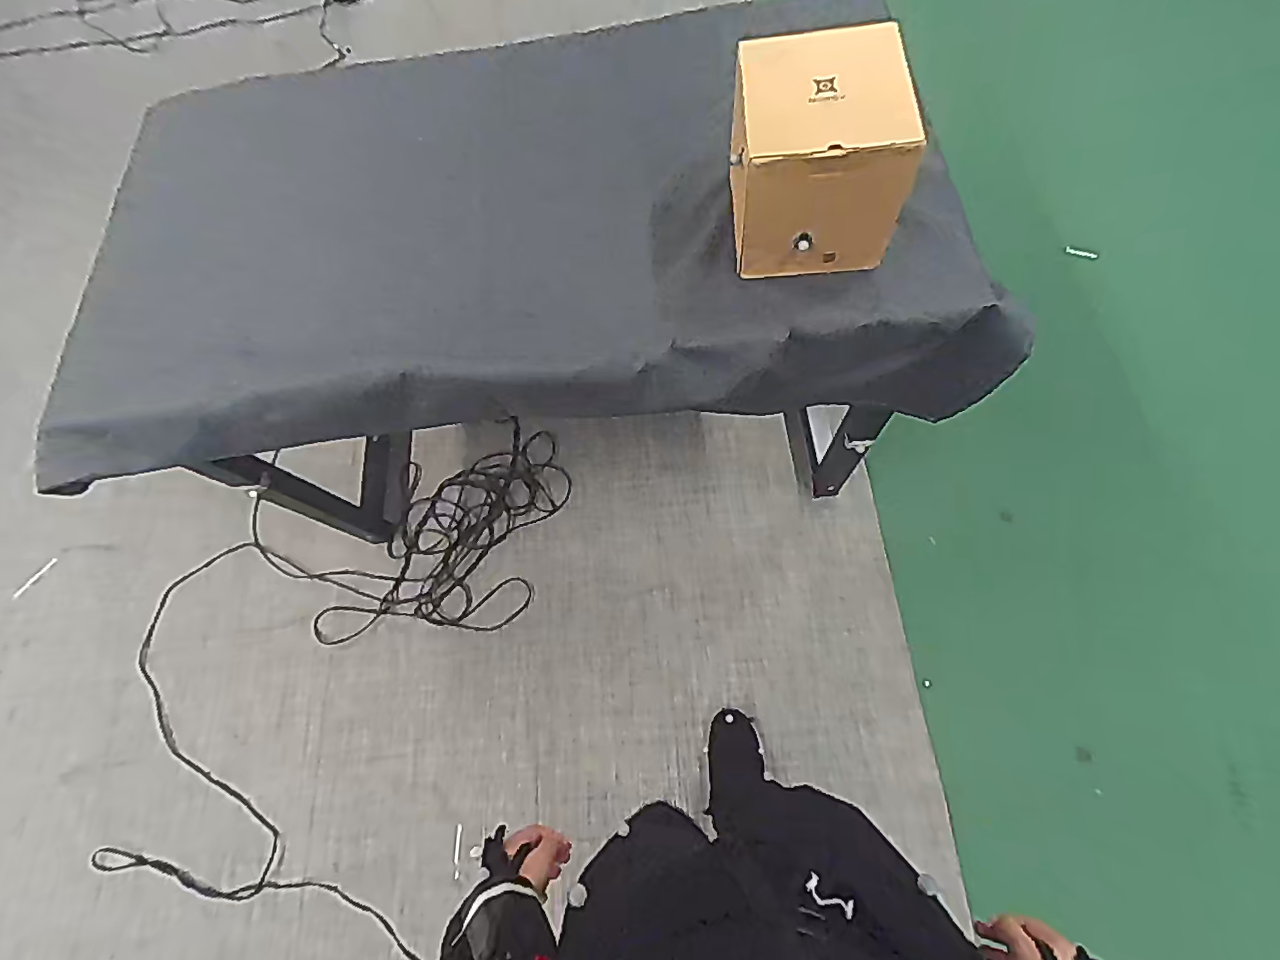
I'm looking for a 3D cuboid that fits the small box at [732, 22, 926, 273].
[{"bbox_3d":[0.195,-0.366,0.616,0.168,0.176,0.179,-3,70,6],"label":"small box"}]
